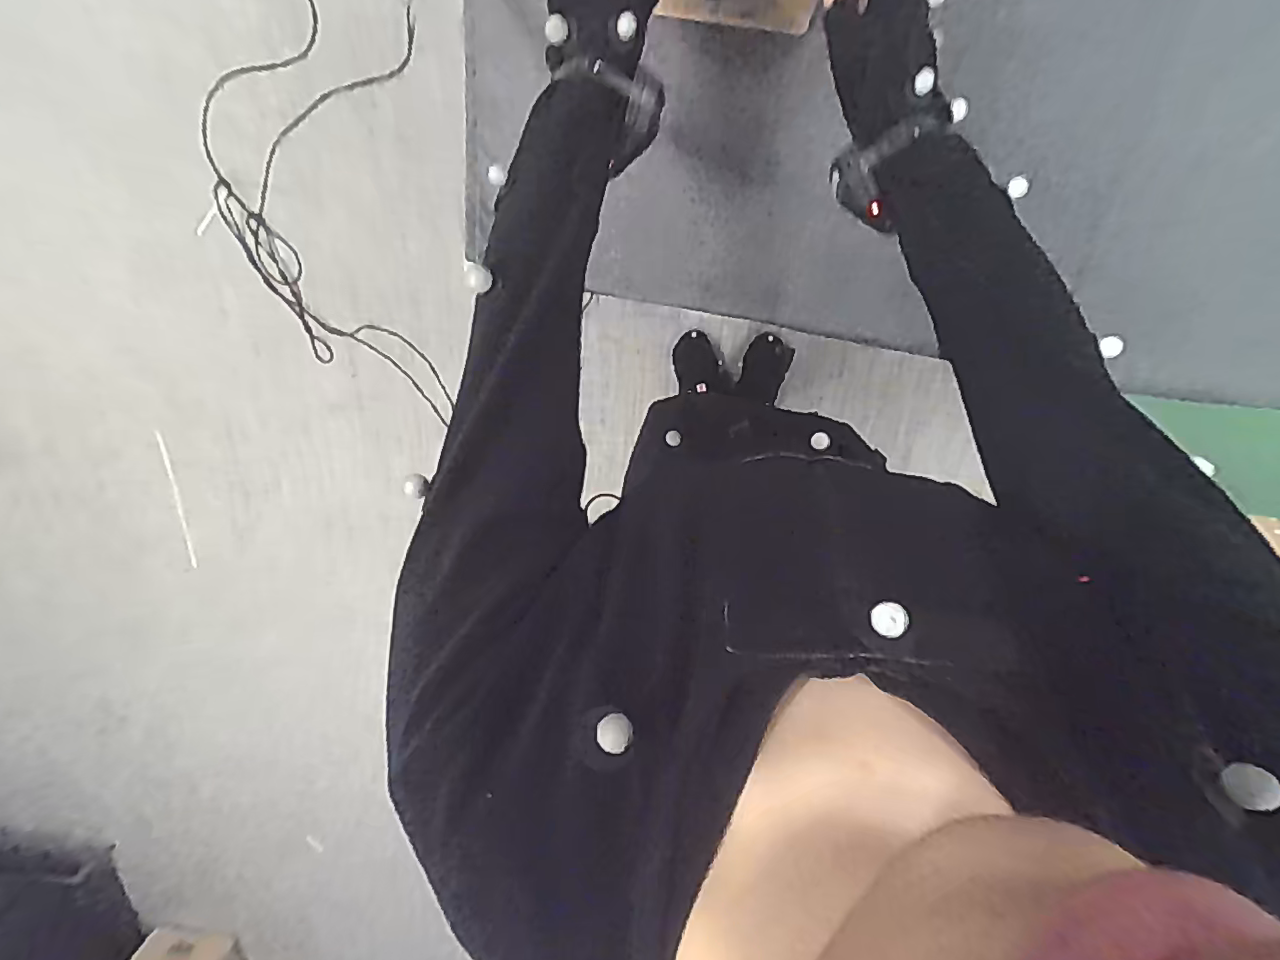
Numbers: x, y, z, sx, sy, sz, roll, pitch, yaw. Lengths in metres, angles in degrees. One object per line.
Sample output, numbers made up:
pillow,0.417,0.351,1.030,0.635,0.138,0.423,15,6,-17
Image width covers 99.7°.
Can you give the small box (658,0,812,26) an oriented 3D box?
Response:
small box,0.092,-0.526,0.447,0.168,0.176,0.179,10,113,2
